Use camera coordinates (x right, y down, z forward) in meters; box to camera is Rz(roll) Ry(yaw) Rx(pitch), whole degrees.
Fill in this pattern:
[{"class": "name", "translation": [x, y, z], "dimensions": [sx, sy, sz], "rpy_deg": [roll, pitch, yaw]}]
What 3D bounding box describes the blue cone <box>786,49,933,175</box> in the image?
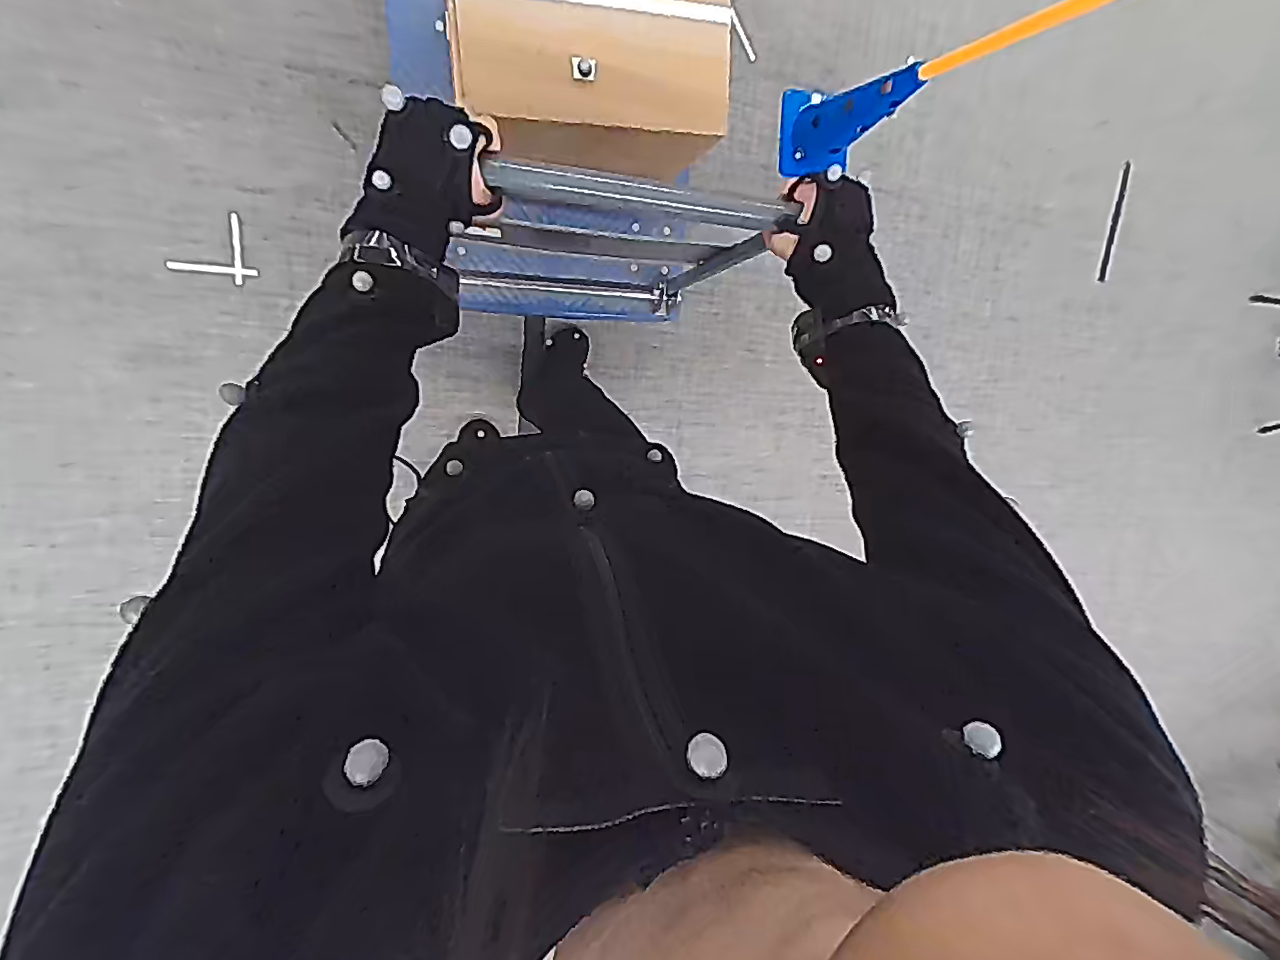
[{"class": "blue cone", "translation": [0.509, -0.860, 1.240], "dimensions": [0.193, 0.380, 0.192], "rpy_deg": [-3, 103, -17]}]
